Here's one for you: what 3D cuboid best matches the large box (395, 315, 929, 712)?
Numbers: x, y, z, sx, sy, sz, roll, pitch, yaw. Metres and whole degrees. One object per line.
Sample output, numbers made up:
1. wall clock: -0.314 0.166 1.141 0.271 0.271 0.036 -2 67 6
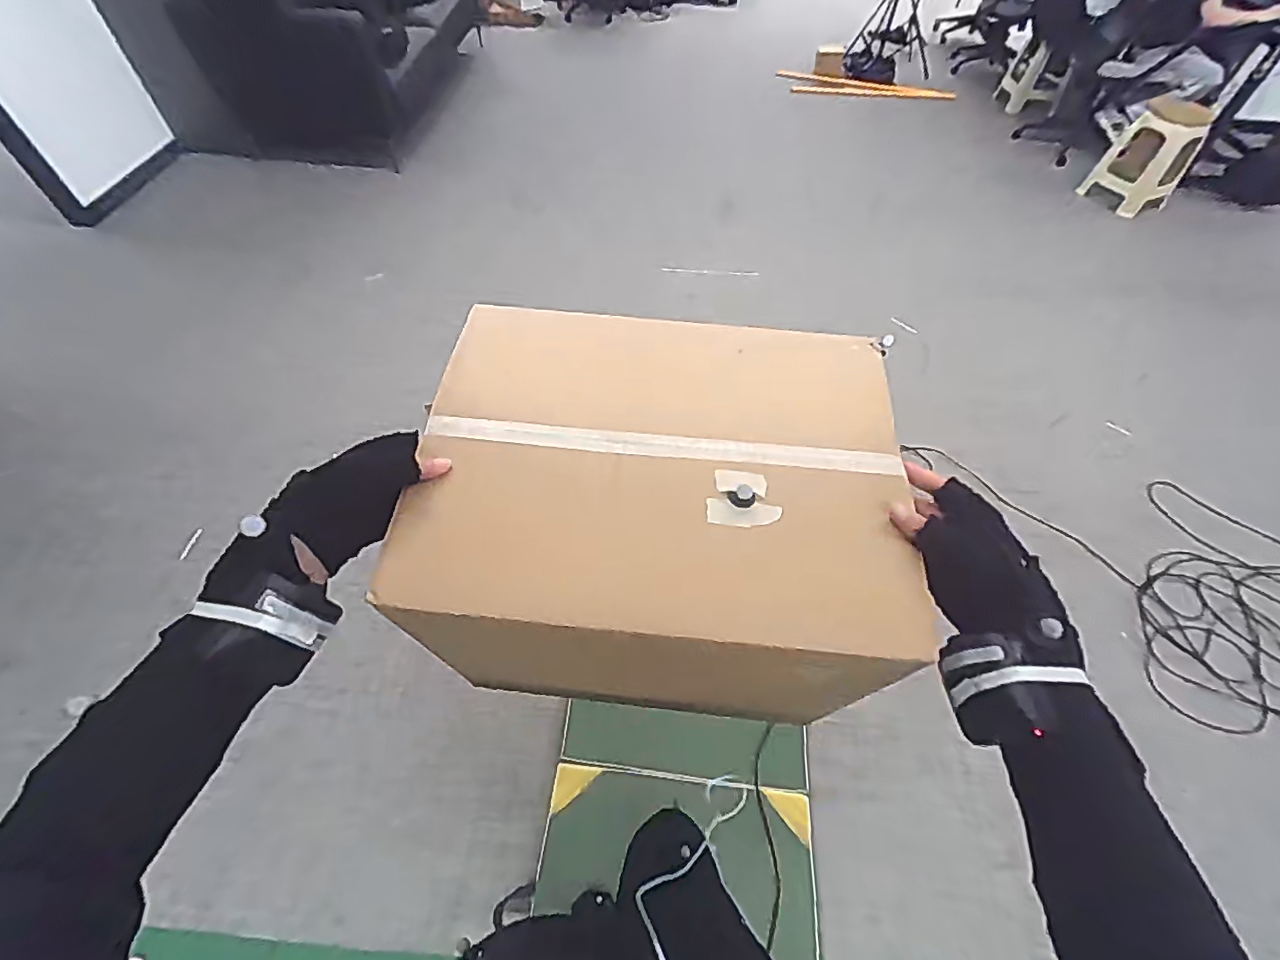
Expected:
1. large box: 0.019 0.053 0.598 0.408 0.320 0.320 6 59 1
